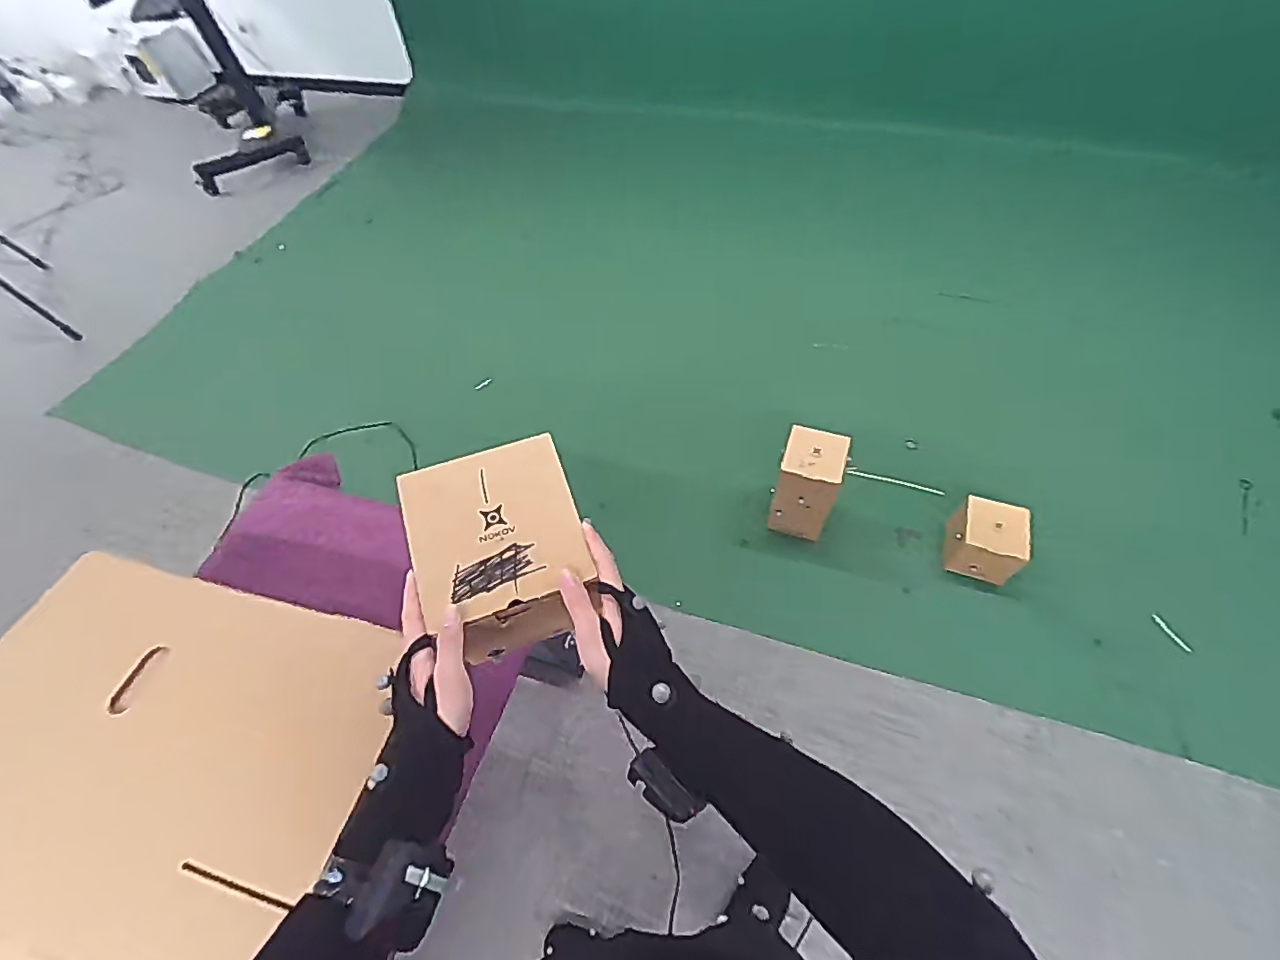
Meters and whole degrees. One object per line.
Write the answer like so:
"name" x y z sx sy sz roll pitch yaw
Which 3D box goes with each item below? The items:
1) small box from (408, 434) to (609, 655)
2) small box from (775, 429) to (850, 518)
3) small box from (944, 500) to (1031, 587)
"small box" -0.135 0.081 0.601 0.168 0.176 0.179 -17 63 -11
"small box" 0.503 -0.018 1.591 0.168 0.176 0.179 16 58 16
"small box" 1.028 0.191 1.608 0.168 0.176 0.179 15 59 14
